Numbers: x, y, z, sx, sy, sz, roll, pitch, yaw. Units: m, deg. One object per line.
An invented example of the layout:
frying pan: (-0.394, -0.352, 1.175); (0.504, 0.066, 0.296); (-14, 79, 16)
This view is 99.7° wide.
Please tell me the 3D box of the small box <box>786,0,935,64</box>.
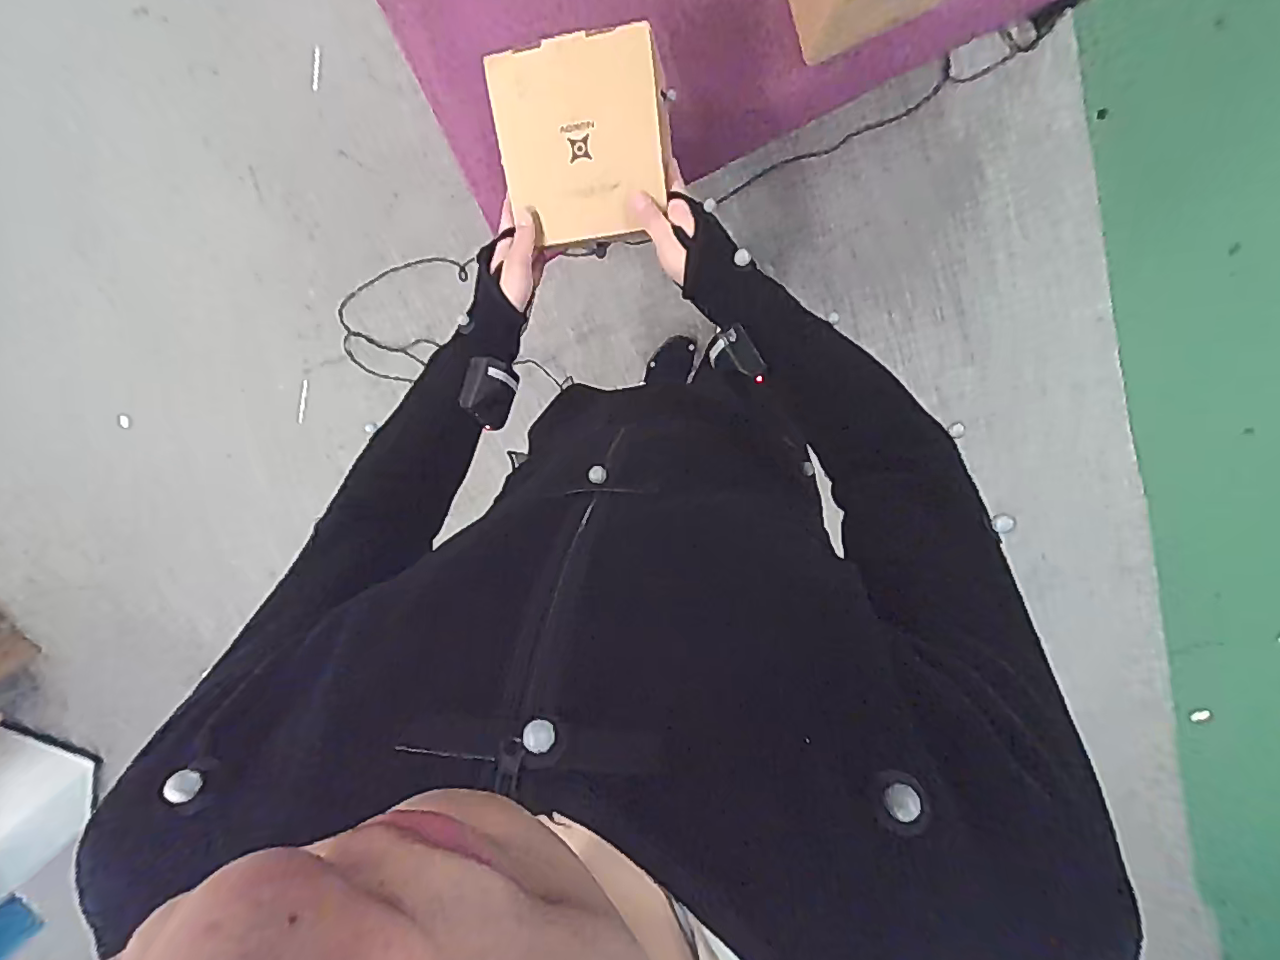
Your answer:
small box: (0.241, -0.596, 0.567); (0.168, 0.176, 0.179); (-20, 105, 12)
